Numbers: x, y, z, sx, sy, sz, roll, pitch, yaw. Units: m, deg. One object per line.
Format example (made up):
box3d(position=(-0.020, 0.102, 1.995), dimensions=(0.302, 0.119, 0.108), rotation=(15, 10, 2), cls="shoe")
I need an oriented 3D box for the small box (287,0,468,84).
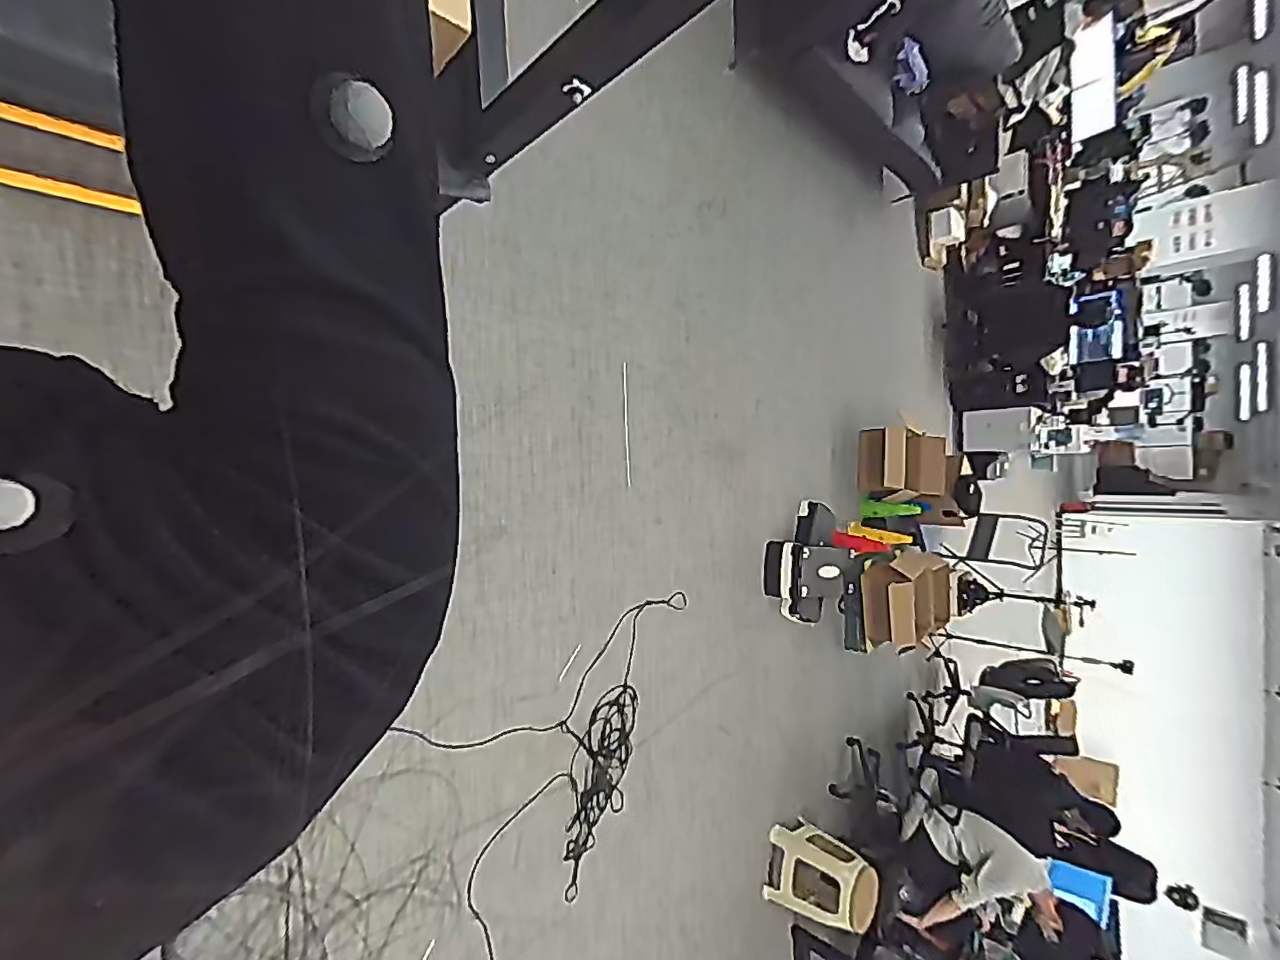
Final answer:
box3d(position=(-0.336, -0.655, 0.682), dimensions=(0.168, 0.176, 0.179), rotation=(-6, 93, -46), cls="small box")
